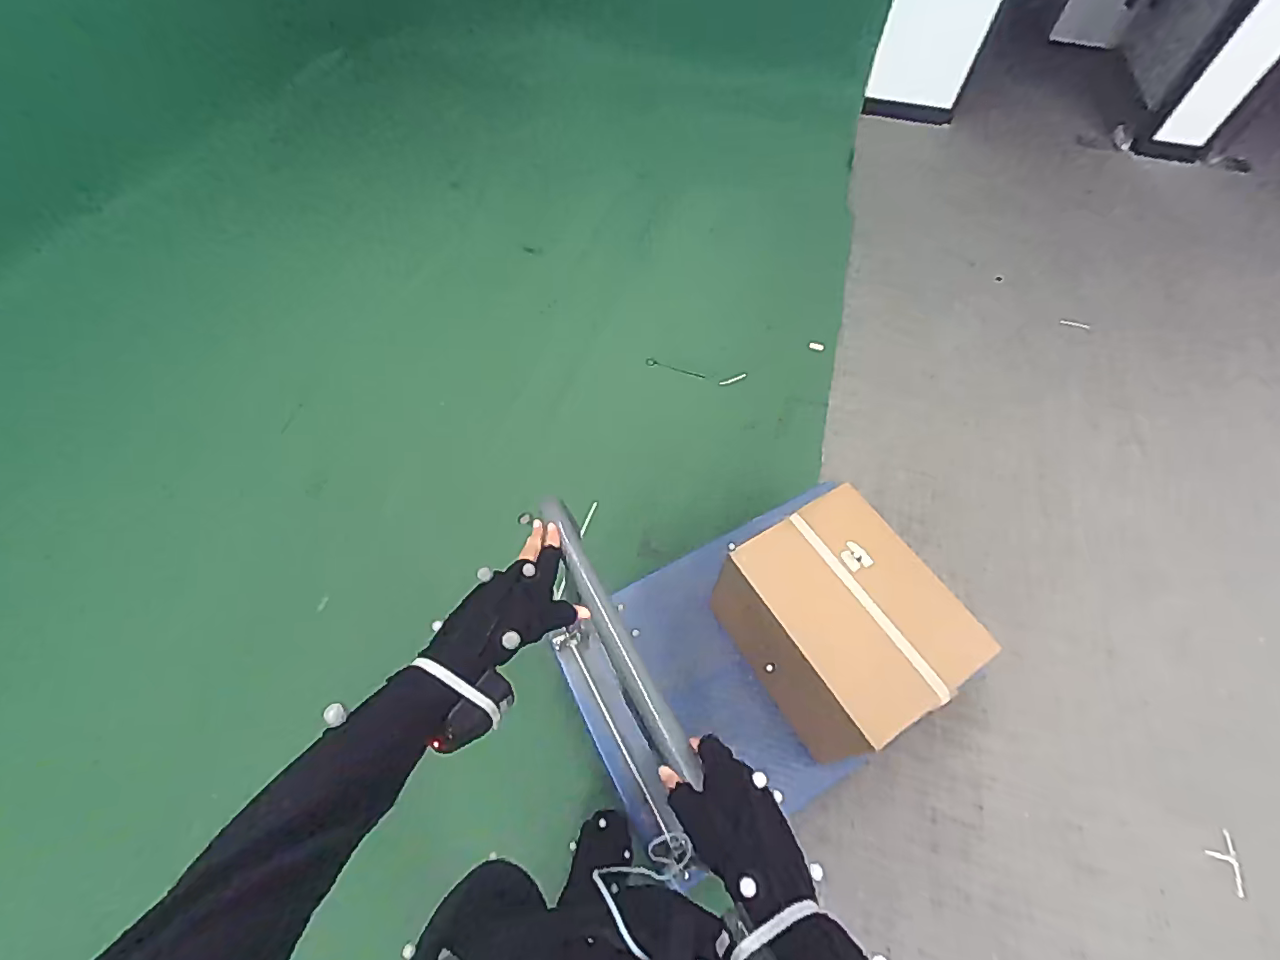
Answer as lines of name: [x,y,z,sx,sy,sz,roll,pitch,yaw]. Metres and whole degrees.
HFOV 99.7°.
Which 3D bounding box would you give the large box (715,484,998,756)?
large box: [0.407,0.294,1.130,0.320,0.320,0.408,-27,62,-17]
